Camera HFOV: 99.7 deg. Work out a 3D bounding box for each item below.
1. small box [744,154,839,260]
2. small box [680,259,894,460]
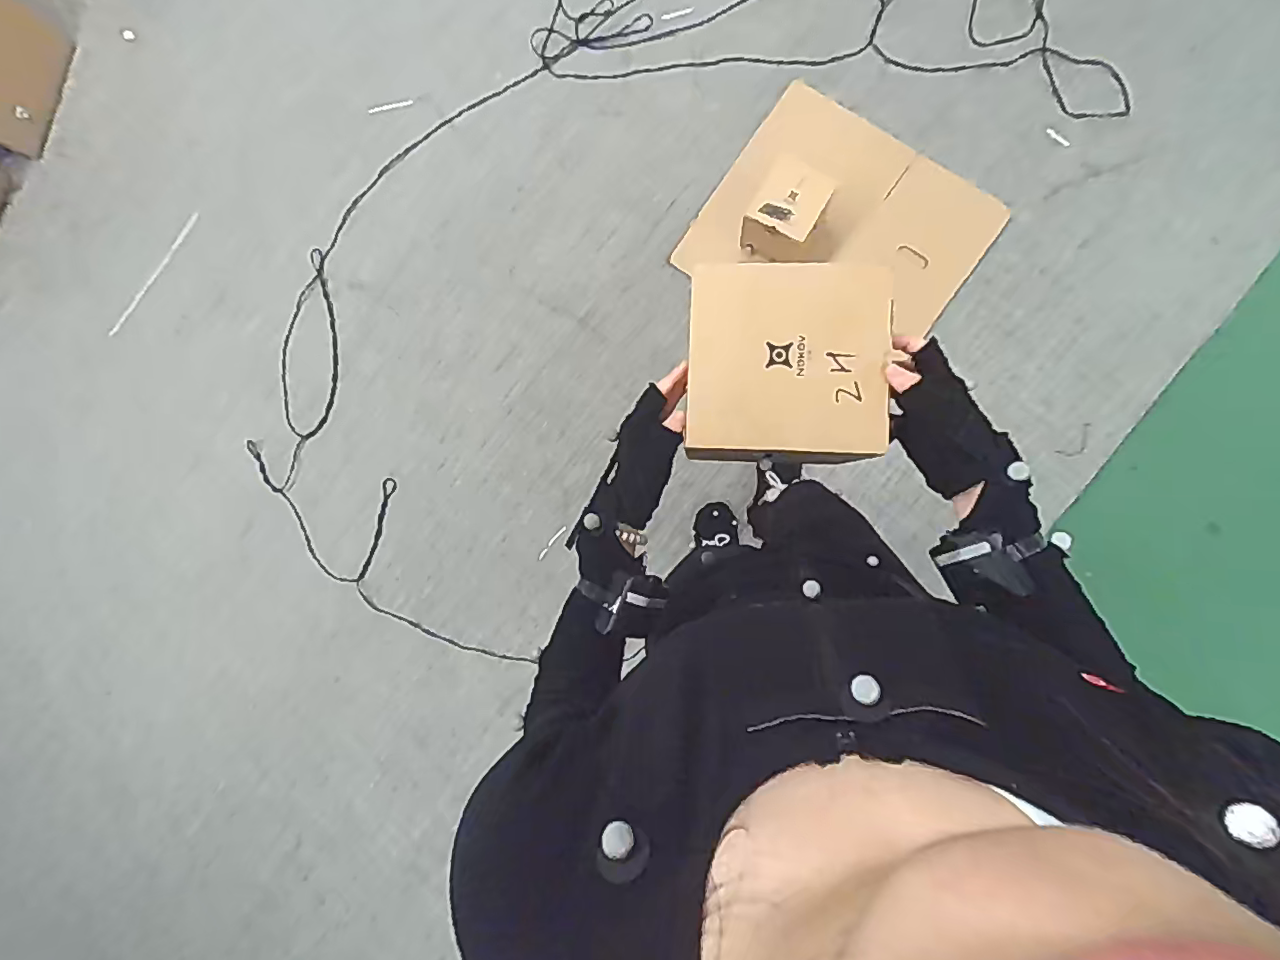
[{"bbox_3d":[0.380,-0.680,1.394,0.168,0.176,0.179,31,91,7],"label":"small box"},{"bbox_3d":[0.134,-0.108,0.546,0.179,0.176,0.168,2,90,6],"label":"small box"}]
